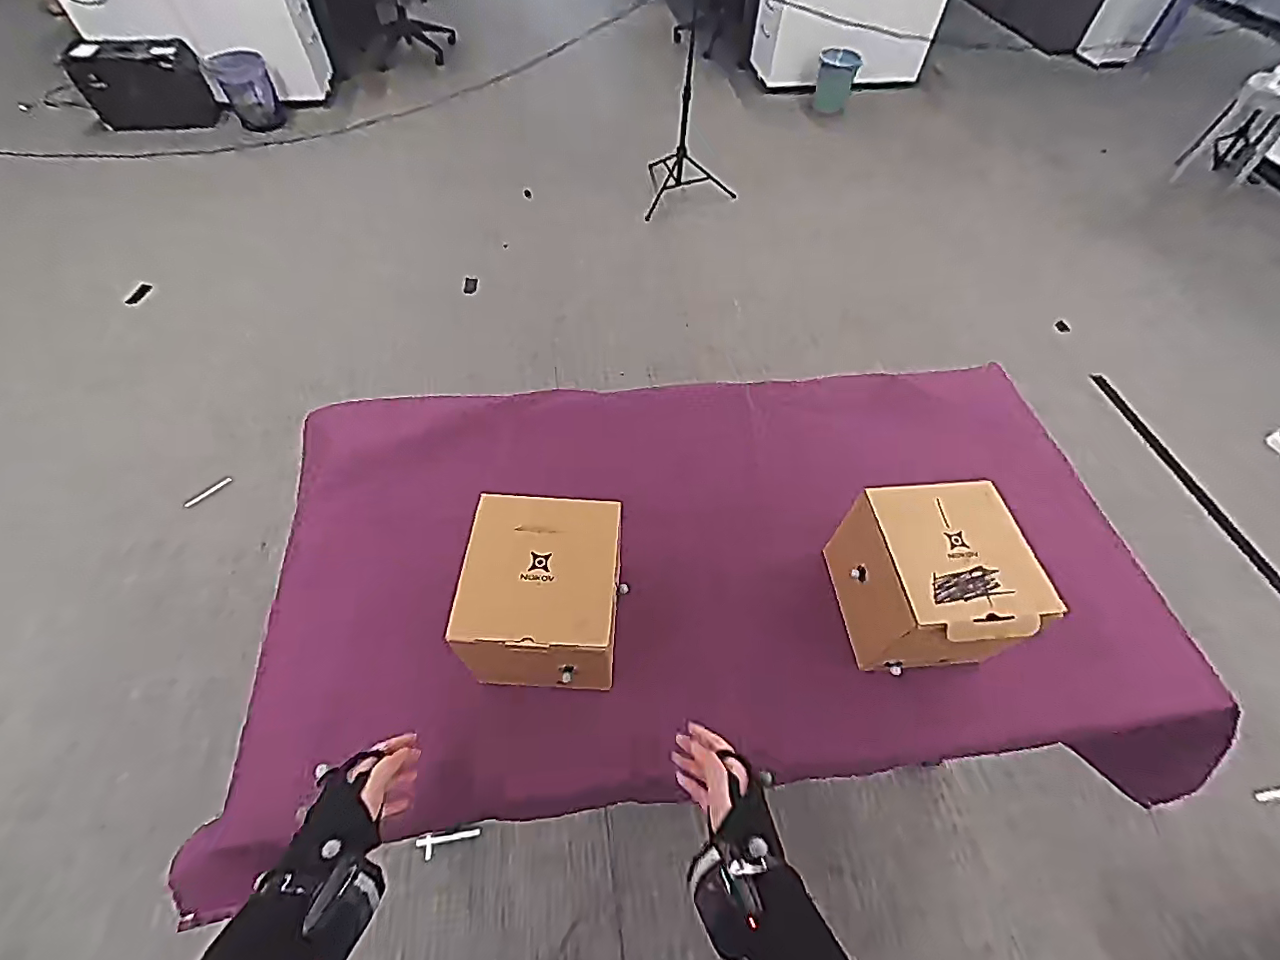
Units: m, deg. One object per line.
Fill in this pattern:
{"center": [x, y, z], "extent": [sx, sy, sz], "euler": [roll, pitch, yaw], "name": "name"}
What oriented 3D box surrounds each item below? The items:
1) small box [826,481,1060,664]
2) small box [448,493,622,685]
{"center": [0.355, 0.122, 0.676], "extent": [0.168, 0.176, 0.179], "euler": [-3, 55, -4], "name": "small box"}
{"center": [-0.109, 0.136, 0.650], "extent": [0.168, 0.176, 0.179], "euler": [4, 56, 0], "name": "small box"}
